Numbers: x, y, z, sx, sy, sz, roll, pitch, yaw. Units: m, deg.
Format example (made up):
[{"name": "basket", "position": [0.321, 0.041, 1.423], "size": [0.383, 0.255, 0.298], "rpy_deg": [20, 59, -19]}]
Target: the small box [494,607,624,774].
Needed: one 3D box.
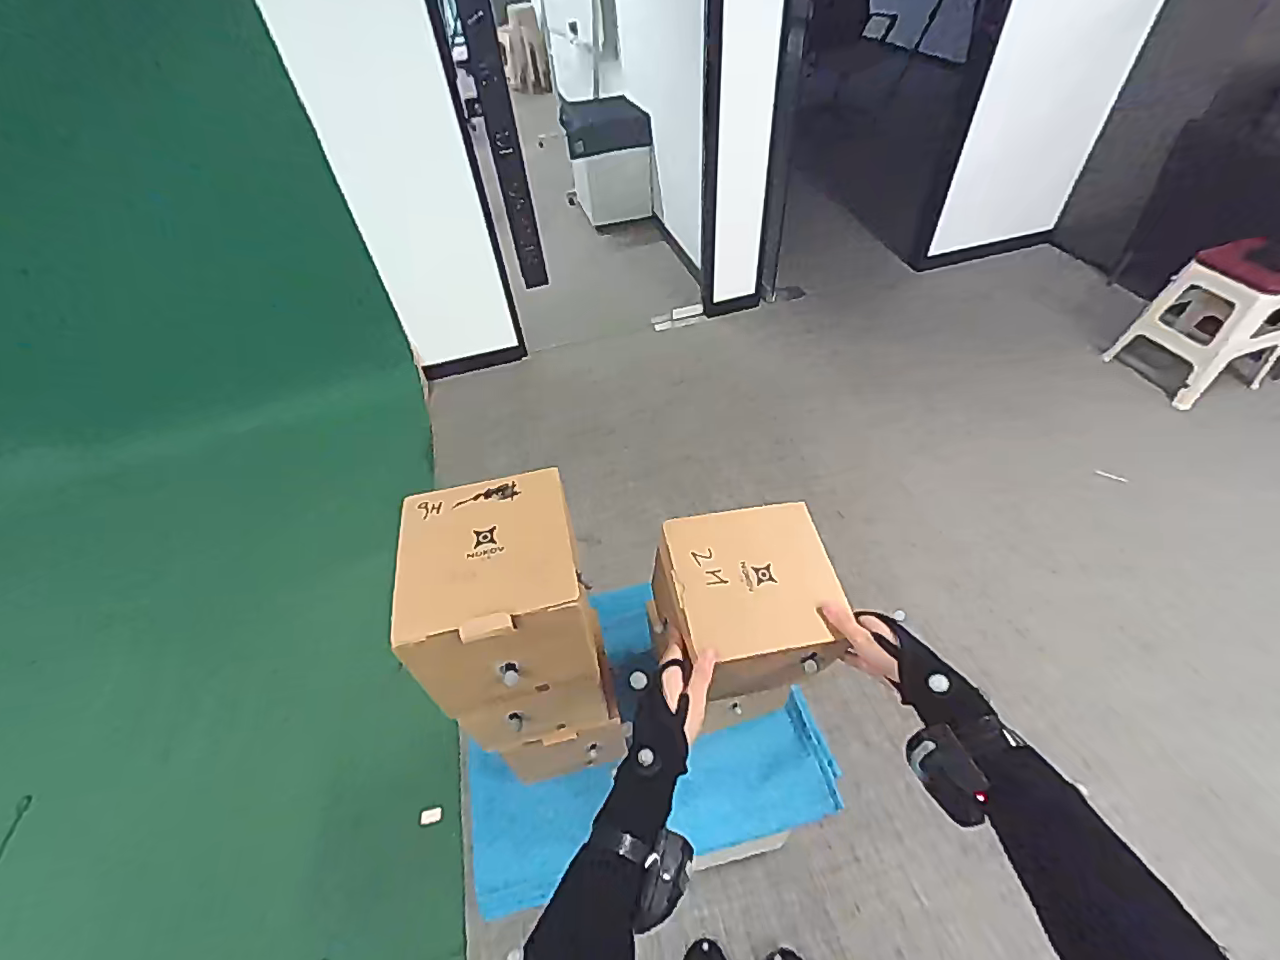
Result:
[{"name": "small box", "position": [-0.123, 0.325, 0.821], "size": [0.168, 0.176, 0.179], "rpy_deg": [-11, 47, -7]}]

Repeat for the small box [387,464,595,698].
[{"name": "small box", "position": [-0.146, 0.113, 0.575], "size": [0.168, 0.176, 0.179], "rpy_deg": [-10, 47, -6]}]

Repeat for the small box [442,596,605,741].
[{"name": "small box", "position": [-0.144, 0.218, 0.701], "size": [0.168, 0.176, 0.179], "rpy_deg": [-11, 46, -5]}]
